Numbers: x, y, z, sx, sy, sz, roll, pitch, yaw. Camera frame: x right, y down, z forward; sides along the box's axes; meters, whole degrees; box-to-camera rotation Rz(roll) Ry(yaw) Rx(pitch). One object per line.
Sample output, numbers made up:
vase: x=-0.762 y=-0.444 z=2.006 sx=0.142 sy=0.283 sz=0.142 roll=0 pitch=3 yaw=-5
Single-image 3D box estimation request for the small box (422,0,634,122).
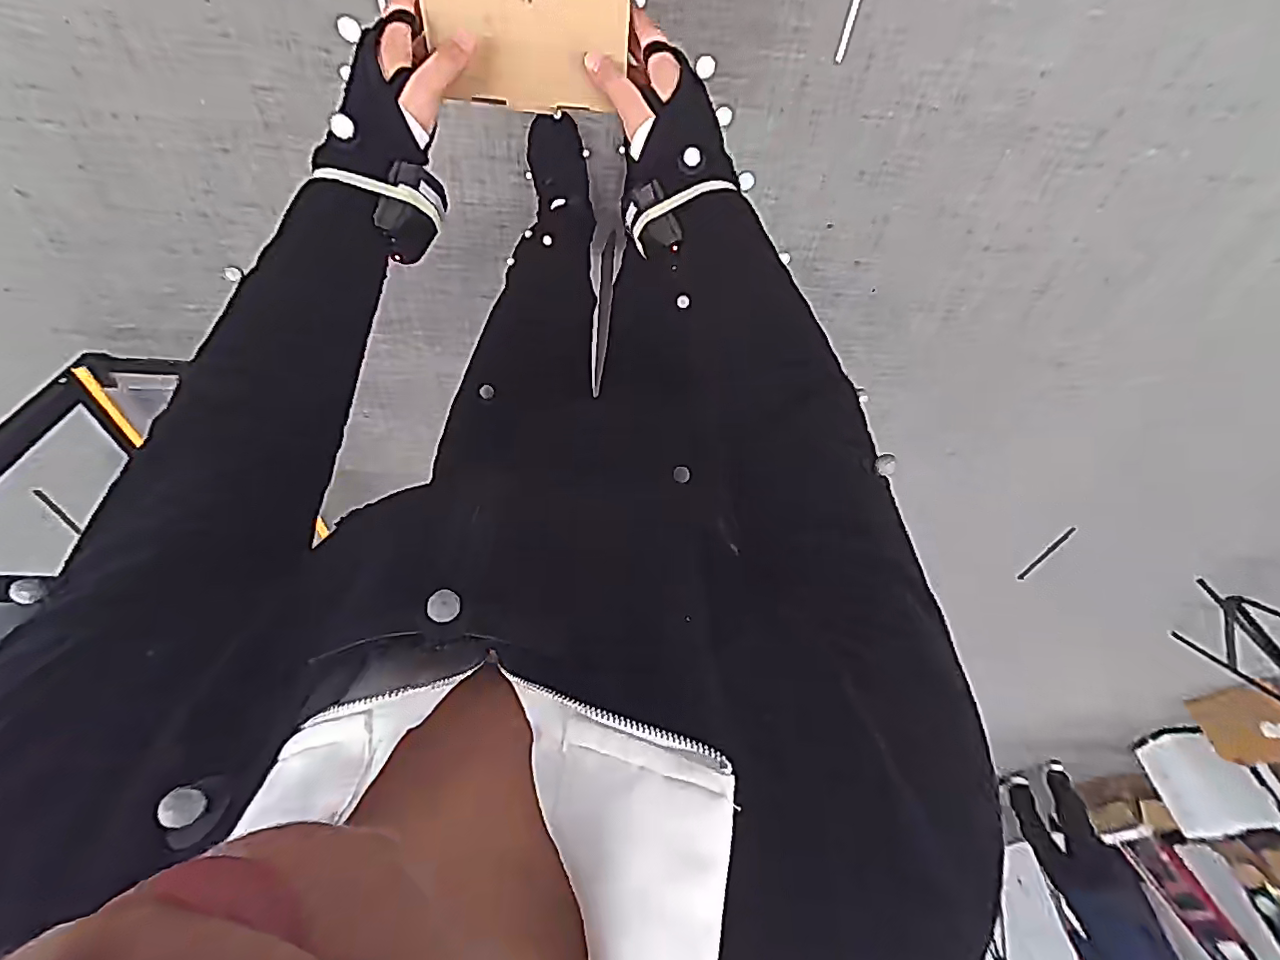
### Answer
small box: x=-0.086 y=-0.440 z=0.462 sx=0.168 sy=0.176 sz=0.179 roll=3 pitch=138 yaw=-4
